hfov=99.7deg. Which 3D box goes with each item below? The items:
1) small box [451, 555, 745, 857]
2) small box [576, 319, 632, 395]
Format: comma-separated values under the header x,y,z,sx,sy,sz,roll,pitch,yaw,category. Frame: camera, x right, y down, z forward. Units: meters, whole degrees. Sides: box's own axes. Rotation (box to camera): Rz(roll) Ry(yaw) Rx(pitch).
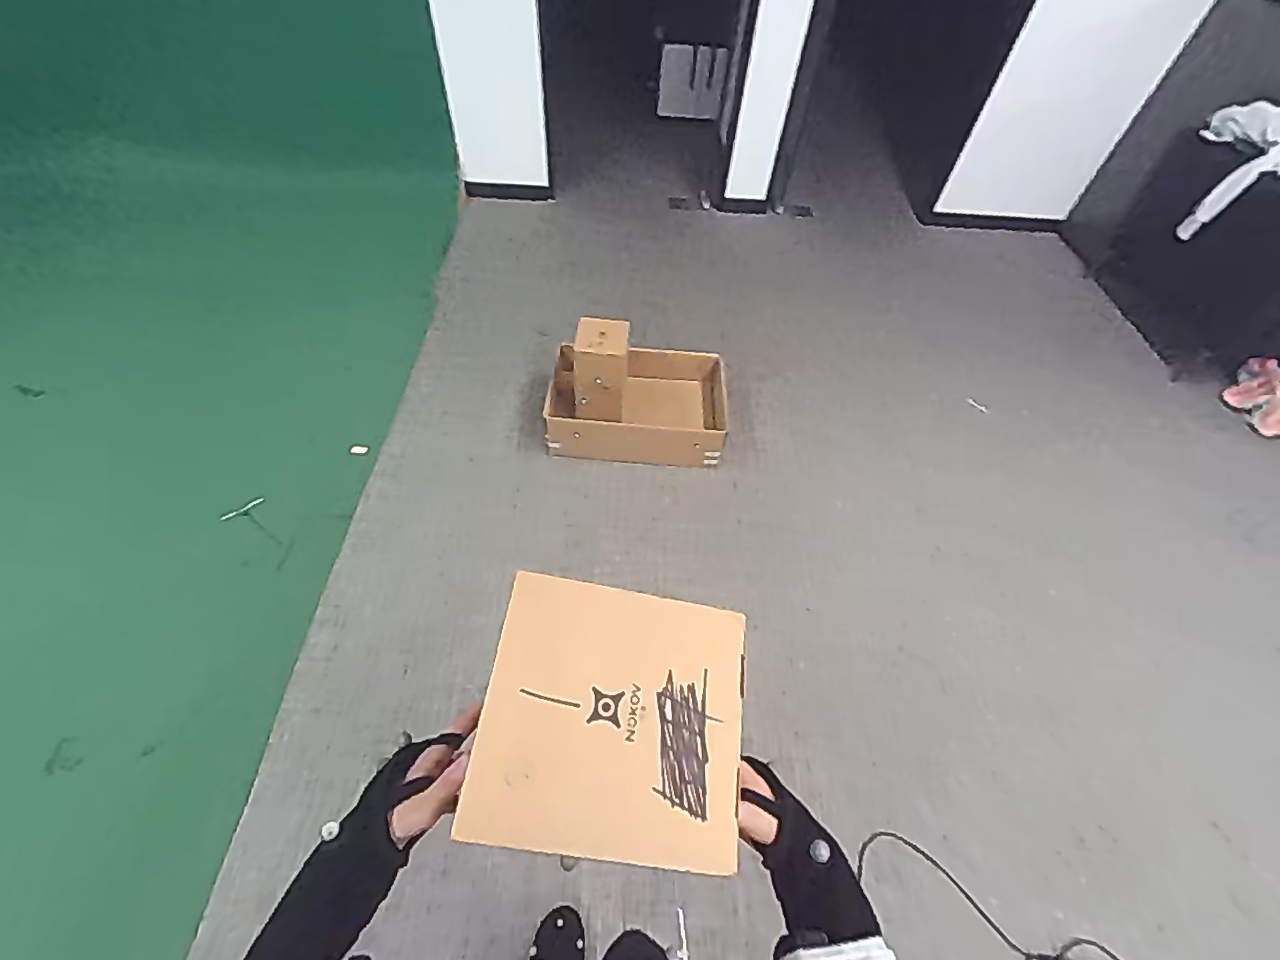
x,y,z,sx,sy,sz,roll,pitch,yaw,category
-0.032,0.180,0.434,0.179,0.176,0.168,13,60,-5,small box
-0.120,-0.409,1.808,0.168,0.176,0.179,5,53,0,small box
